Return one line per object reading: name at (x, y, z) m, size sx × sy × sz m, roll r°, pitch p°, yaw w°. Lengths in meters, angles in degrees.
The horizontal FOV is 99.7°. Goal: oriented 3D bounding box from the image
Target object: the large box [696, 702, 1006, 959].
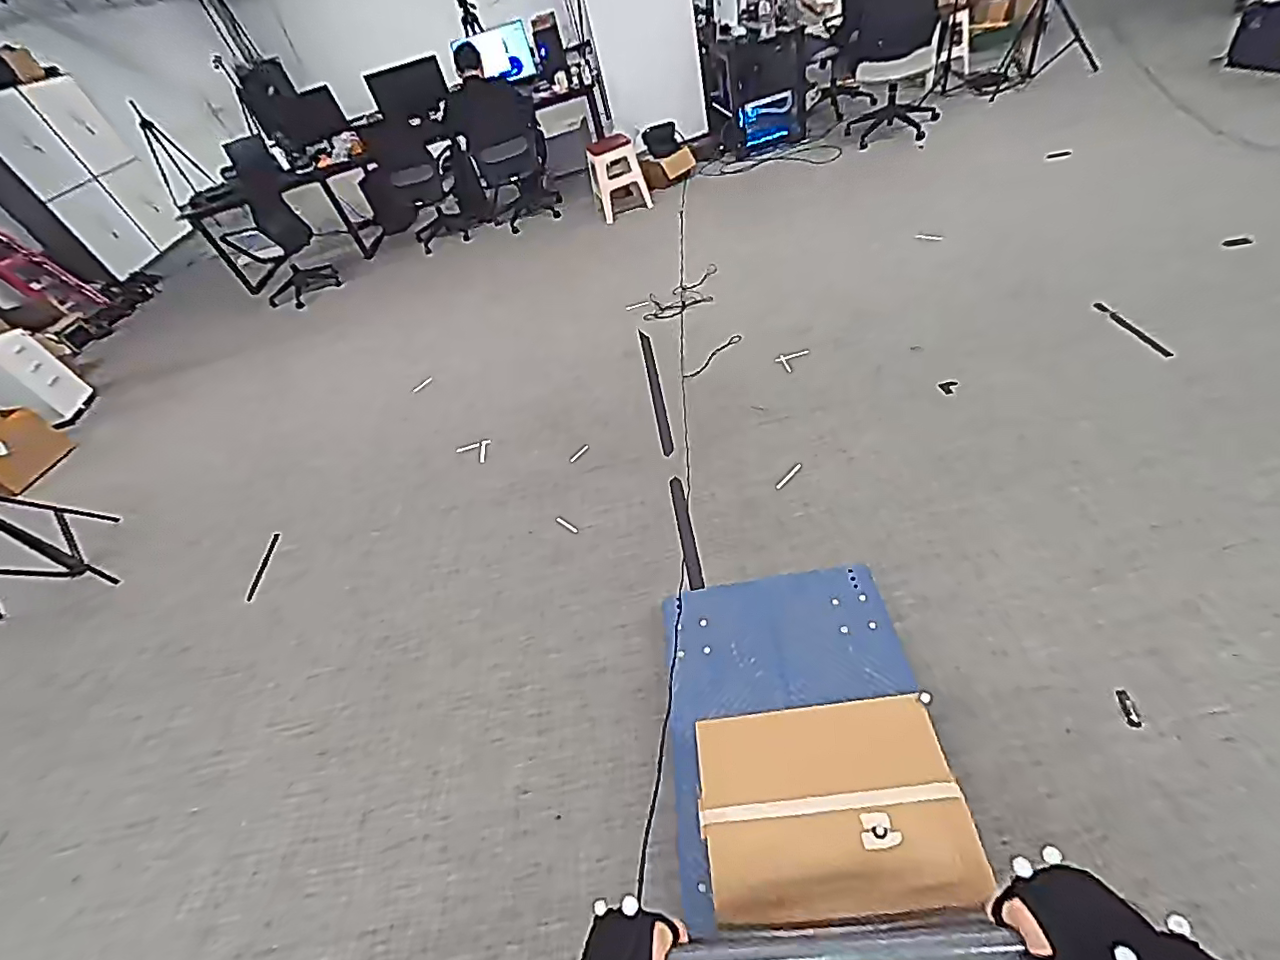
large box at (0.335, 0.638, 0.968) m, size 0.408 × 0.320 × 0.320 m, roll -11°, pitch 45°, yaw 8°
